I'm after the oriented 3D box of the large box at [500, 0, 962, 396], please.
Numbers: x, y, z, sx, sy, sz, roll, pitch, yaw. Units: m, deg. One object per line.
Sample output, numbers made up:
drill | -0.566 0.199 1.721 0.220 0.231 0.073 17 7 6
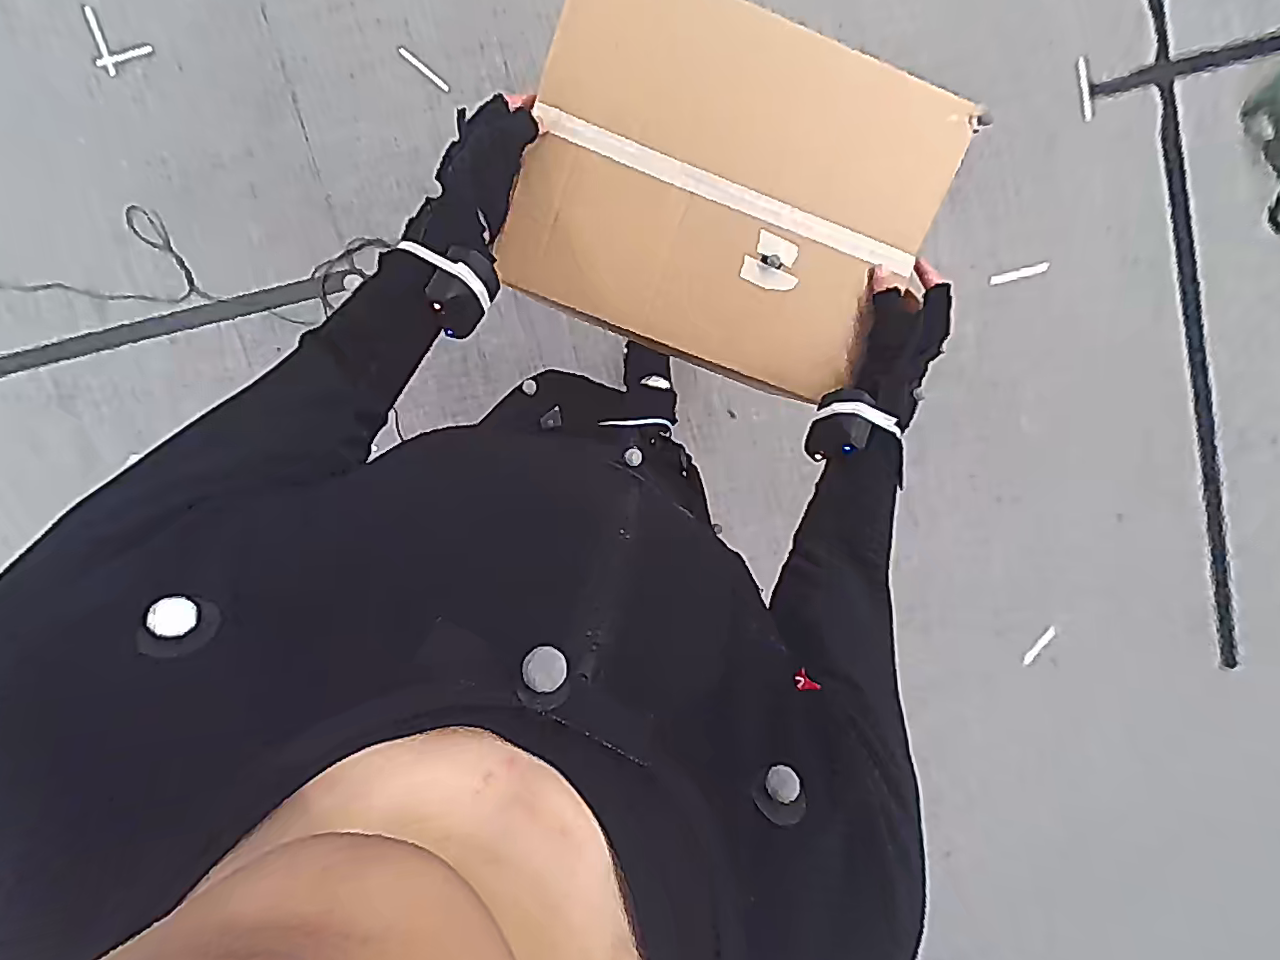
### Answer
large box | 0.083 -0.328 0.696 0.408 0.320 0.320 20 103 -5
